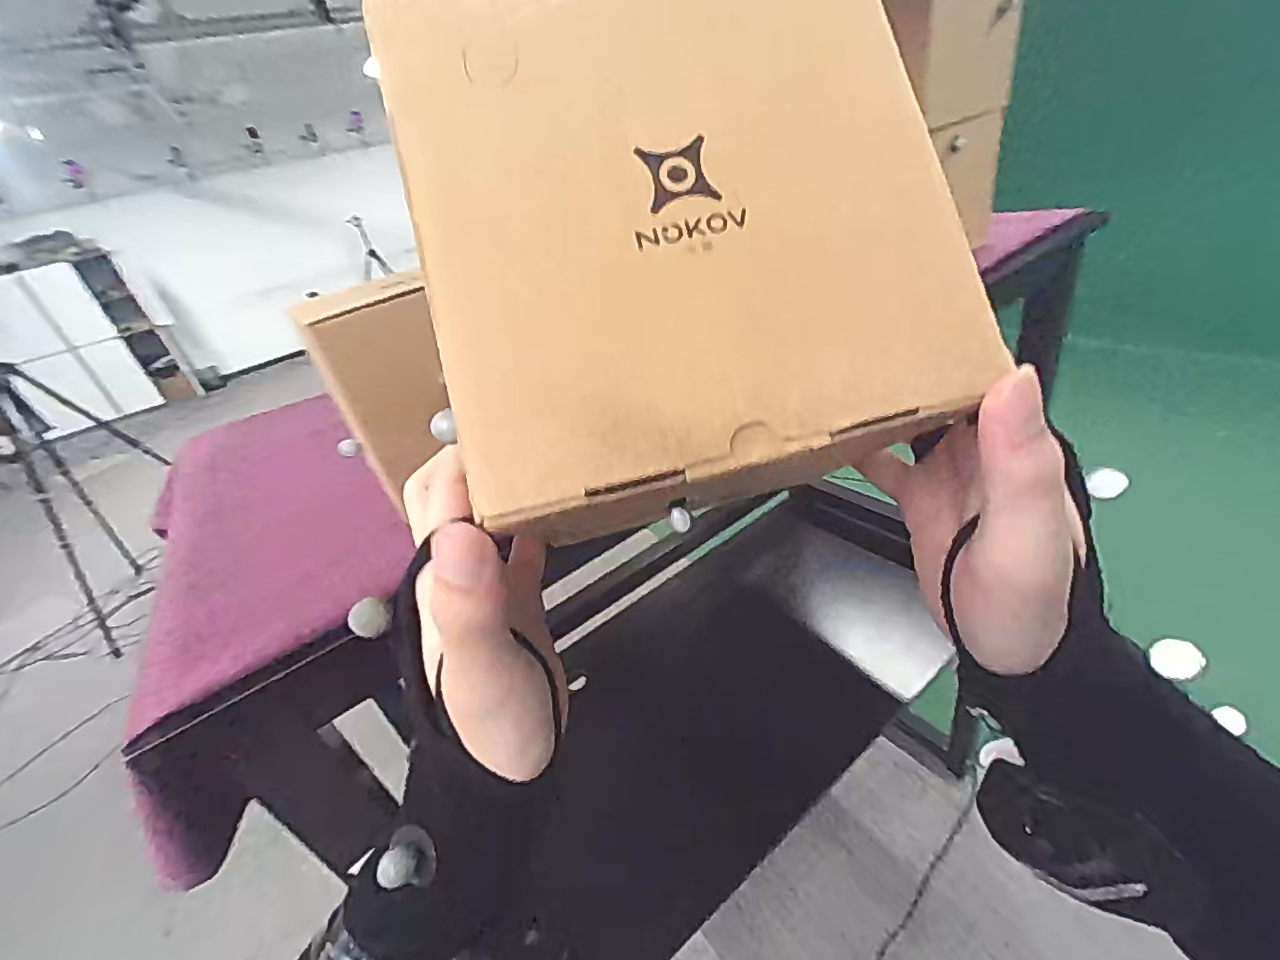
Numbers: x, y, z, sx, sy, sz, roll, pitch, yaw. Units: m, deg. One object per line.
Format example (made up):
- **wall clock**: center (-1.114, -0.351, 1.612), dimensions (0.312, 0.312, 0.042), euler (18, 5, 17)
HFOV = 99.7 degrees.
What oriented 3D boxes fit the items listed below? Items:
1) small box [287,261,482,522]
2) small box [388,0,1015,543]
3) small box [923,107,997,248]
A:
- **small box**: center (-0.179, -0.093, 0.488), dimensions (0.179, 0.176, 0.168), euler (-30, 34, -23)
- **small box**: center (0.013, -0.075, 0.249), dimensions (0.168, 0.179, 0.176), euler (-14, -7, -4)
- **small box**: center (0.366, -0.404, 0.771), dimensions (0.168, 0.176, 0.179), euler (-28, 34, -20)
